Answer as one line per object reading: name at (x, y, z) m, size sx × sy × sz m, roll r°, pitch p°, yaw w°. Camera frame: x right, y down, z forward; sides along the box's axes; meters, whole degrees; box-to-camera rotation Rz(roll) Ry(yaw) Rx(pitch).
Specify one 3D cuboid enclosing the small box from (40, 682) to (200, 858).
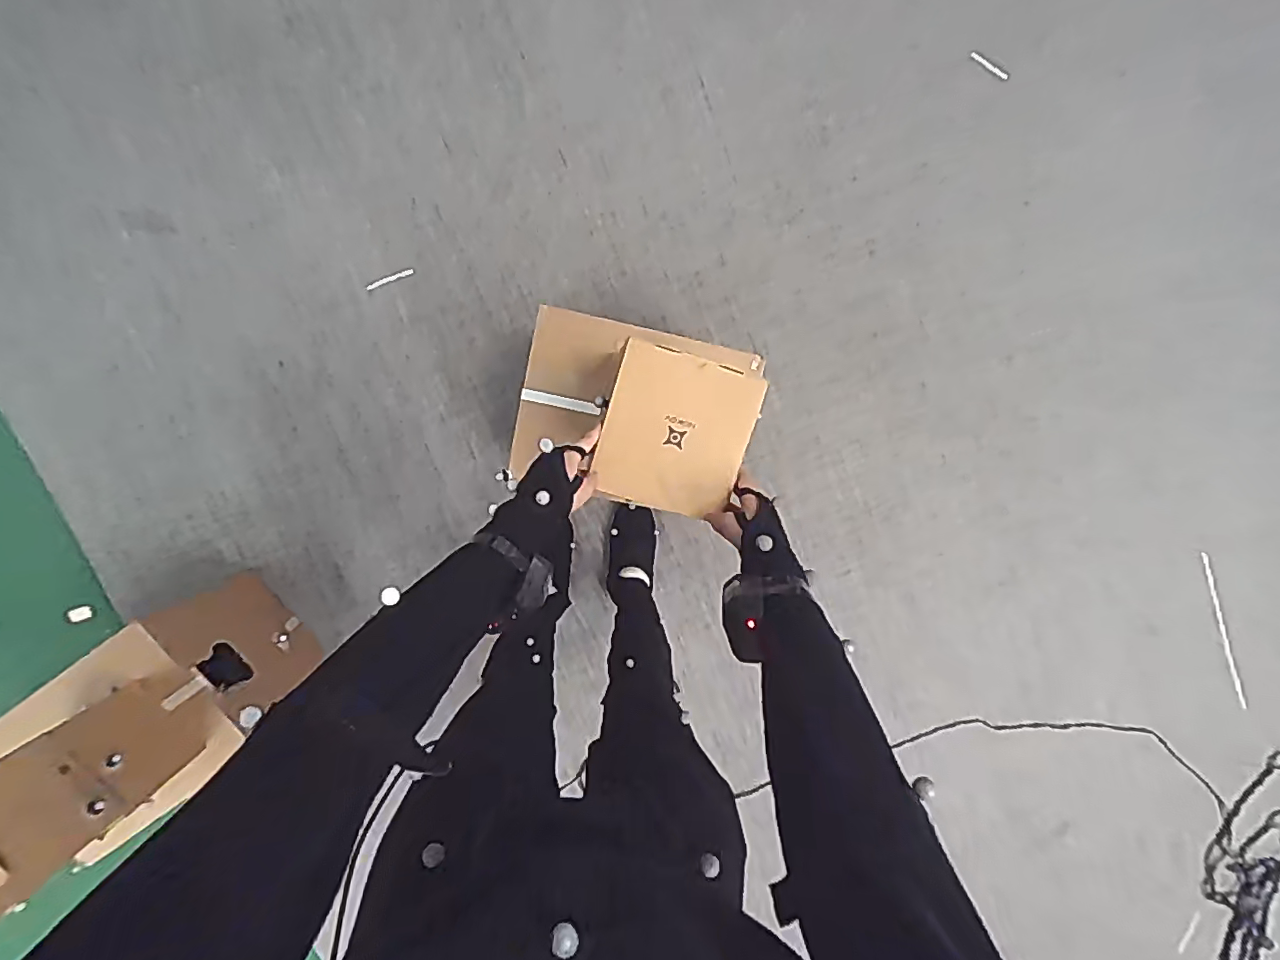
small box at (-0.888, 0.472, 0.883) m, size 0.168 × 0.176 × 0.179 m, roll -35°, pitch 98°, yaw 1°

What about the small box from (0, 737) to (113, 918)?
small box at (-0.876, 0.488, 0.721) m, size 0.179 × 0.176 × 0.168 m, roll -36°, pitch 98°, yaw 1°

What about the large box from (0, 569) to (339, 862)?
large box at (-0.946, 0.455, 1.123) m, size 0.408 × 0.320 × 0.320 m, roll -36°, pitch 97°, yaw 2°

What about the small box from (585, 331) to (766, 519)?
small box at (0.035, -0.070, 0.683) m, size 0.168 × 0.176 × 0.179 m, roll 16°, pitch 96°, yaw -7°
